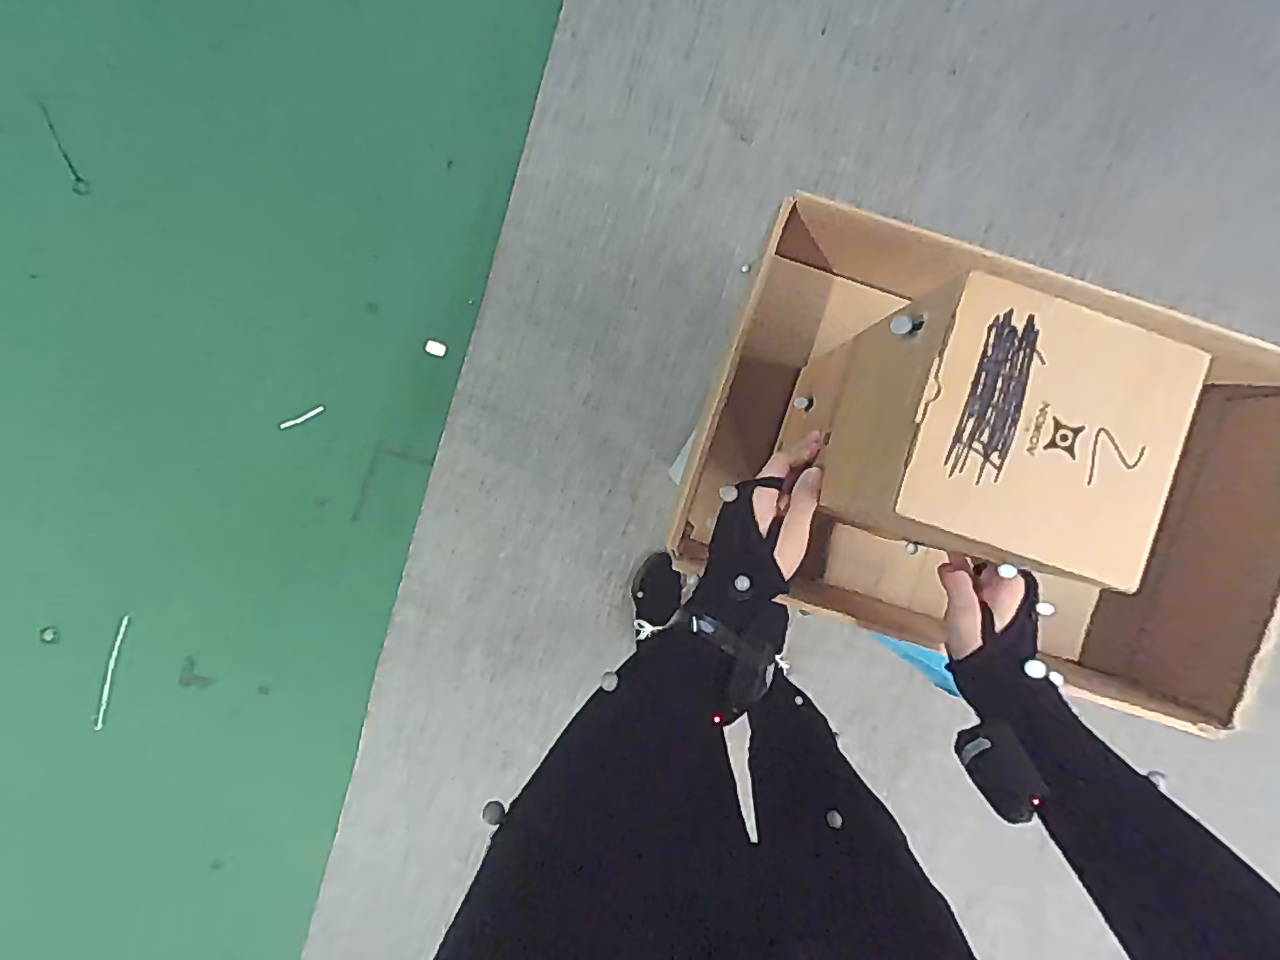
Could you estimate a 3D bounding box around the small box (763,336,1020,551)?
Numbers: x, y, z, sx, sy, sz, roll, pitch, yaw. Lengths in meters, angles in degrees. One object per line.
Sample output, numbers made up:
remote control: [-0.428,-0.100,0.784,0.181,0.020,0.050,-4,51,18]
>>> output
small box: [0.254,-0.035,0.592,0.179,0.176,0.168,18,91,-3]
